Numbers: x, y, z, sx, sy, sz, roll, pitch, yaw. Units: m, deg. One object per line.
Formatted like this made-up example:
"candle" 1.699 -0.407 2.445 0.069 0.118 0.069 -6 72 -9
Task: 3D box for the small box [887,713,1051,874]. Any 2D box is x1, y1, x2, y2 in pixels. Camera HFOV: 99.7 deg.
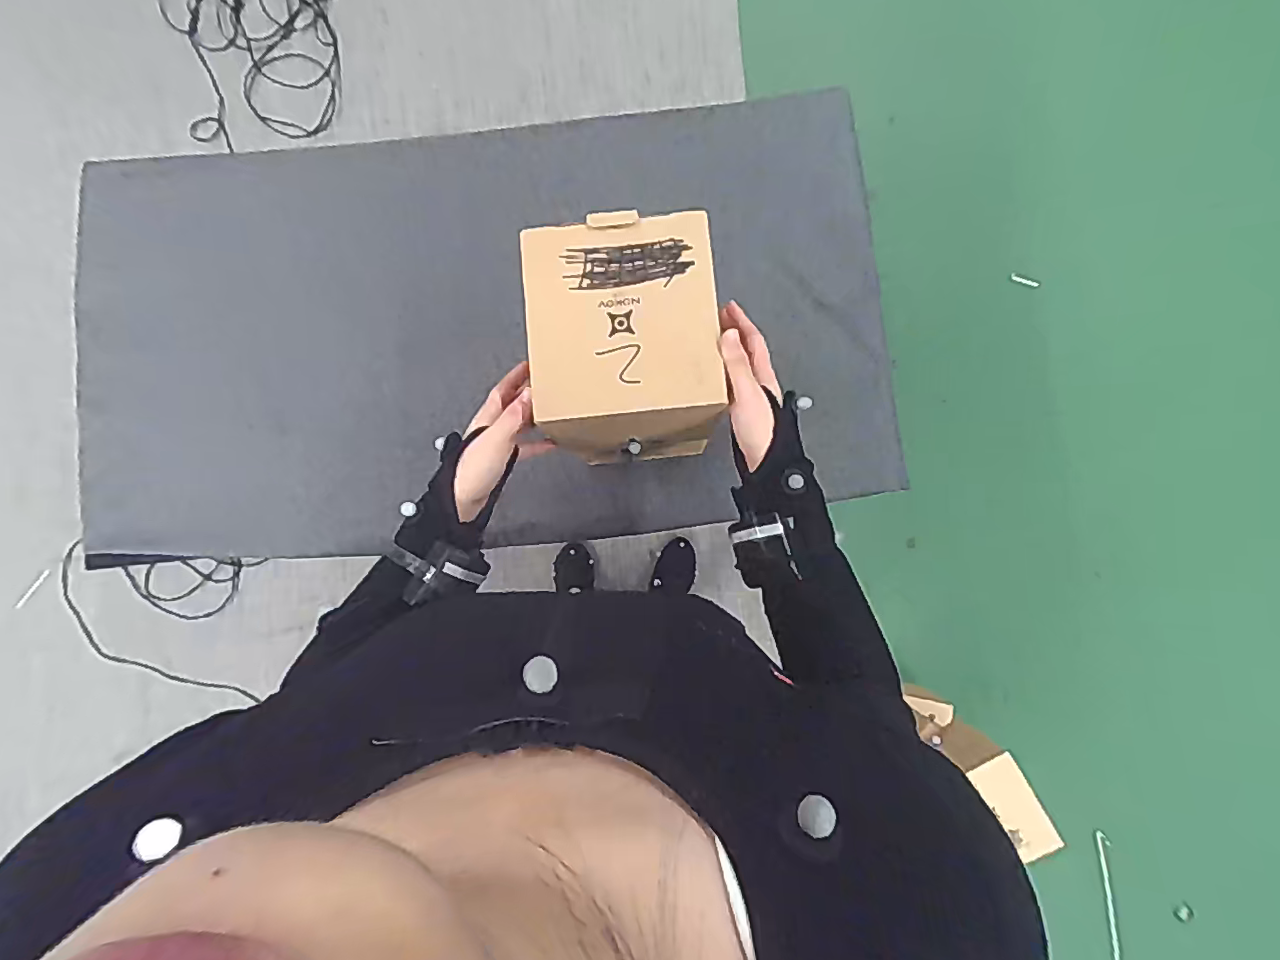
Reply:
"small box" 0.607 0.578 1.021 0.168 0.176 0.179 -28 85 2

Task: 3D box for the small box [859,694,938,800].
"small box" 0.615 0.598 1.185 0.179 0.176 0.168 32 90 4

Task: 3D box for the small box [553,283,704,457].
"small box" -0.009 -0.126 0.695 0.168 0.176 0.179 -6 84 2
